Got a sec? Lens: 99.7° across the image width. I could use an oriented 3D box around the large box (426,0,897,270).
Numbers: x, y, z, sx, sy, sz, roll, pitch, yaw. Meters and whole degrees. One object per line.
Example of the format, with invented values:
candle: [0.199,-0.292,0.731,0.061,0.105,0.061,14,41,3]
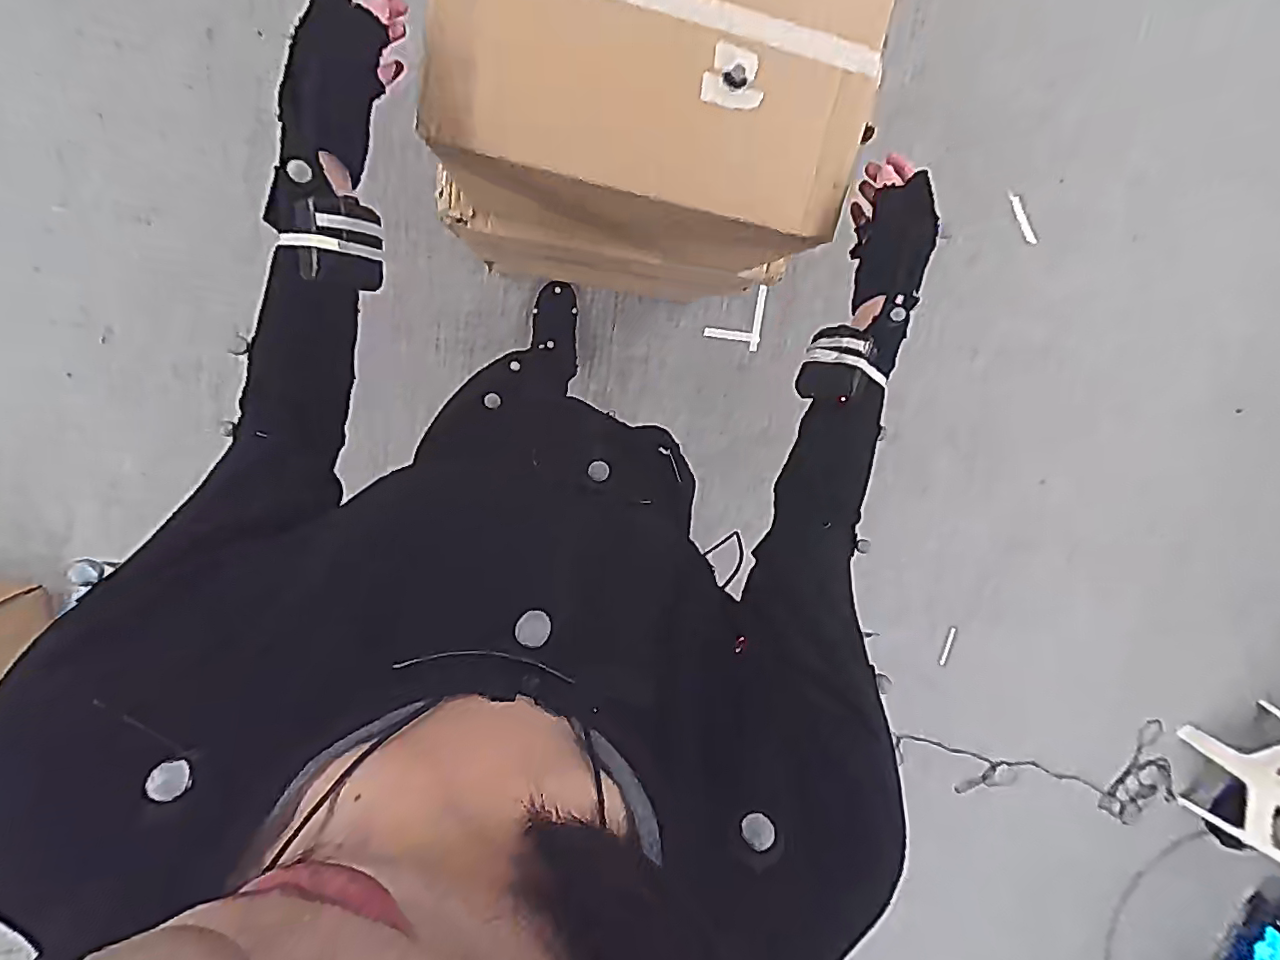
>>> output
large box: [0.008,-0.453,0.613,0.408,0.320,0.320,9,104,-11]
